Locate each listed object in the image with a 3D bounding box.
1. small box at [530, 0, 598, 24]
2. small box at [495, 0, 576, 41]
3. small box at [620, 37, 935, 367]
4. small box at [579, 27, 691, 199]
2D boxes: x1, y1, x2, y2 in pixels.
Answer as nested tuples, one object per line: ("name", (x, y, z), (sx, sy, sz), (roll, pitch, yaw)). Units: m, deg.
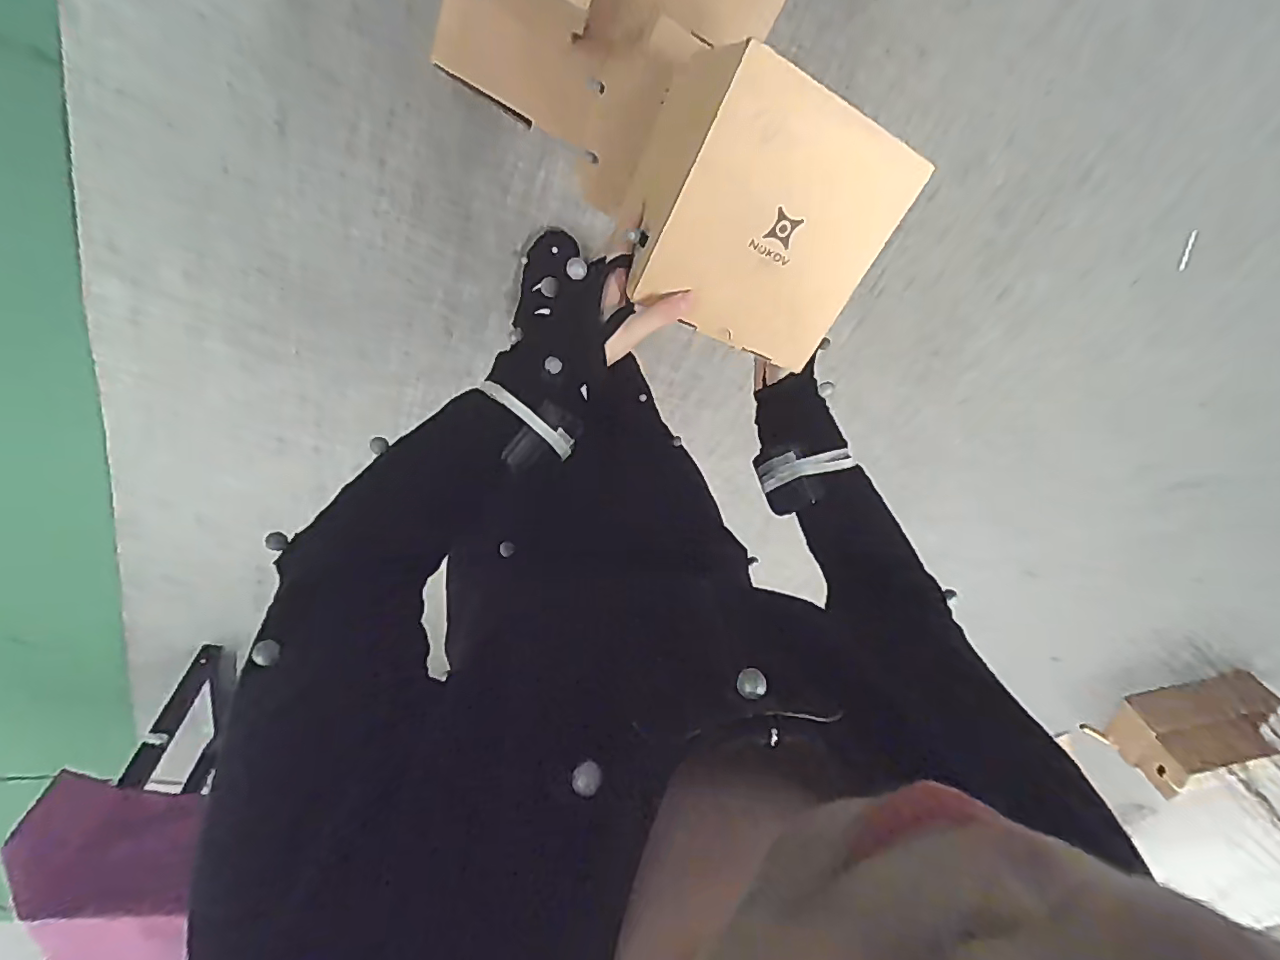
("small box", (-0.095, -0.538, 0.469), (0.179, 0.176, 0.168), (18, 120, -19))
("small box", (-0.120, -0.637, 0.601), (0.168, 0.176, 0.179), (19, 119, -20))
("small box", (0.092, -0.231, 0.461), (0.168, 0.176, 0.179), (16, 122, -21))
("small box", (0.027, -0.473, 0.739), (0.179, 0.176, 0.168), (17, 120, -20))
